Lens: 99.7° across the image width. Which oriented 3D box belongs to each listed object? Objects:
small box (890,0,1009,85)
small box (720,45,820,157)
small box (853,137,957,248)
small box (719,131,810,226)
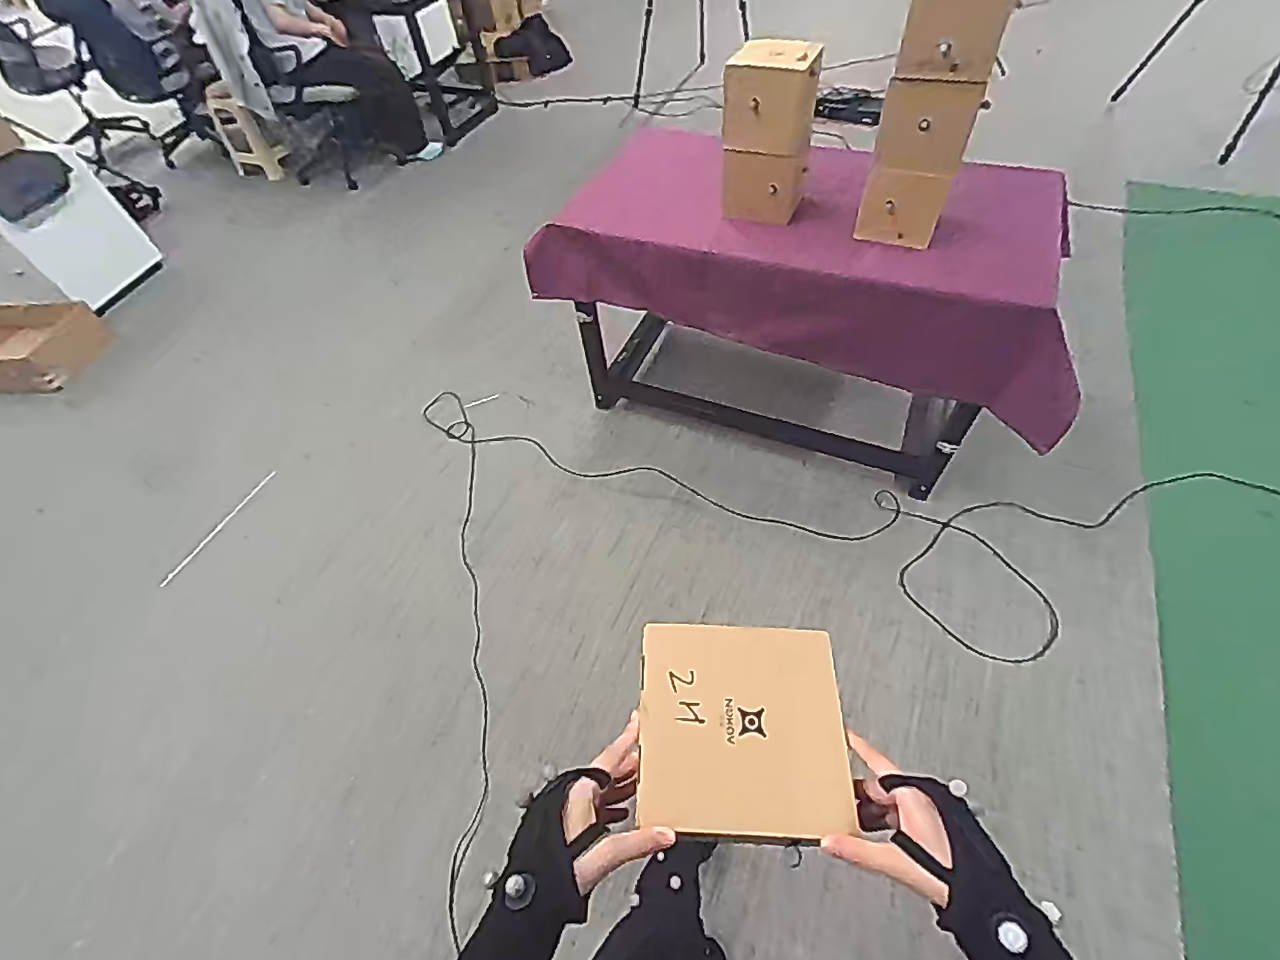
[{"bbox_3d":[0.579,-0.861,0.997,0.168,0.176,0.179,18,58,19],"label":"small box"},{"bbox_3d":[0.291,-0.865,1.236,0.179,0.176,0.168,18,57,19],"label":"small box"},{"bbox_3d":[0.611,-0.667,1.261,0.168,0.176,0.179,19,57,19],"label":"small box"},{"bbox_3d":[0.309,-0.768,1.367,0.179,0.176,0.168,18,57,18],"label":"small box"}]
